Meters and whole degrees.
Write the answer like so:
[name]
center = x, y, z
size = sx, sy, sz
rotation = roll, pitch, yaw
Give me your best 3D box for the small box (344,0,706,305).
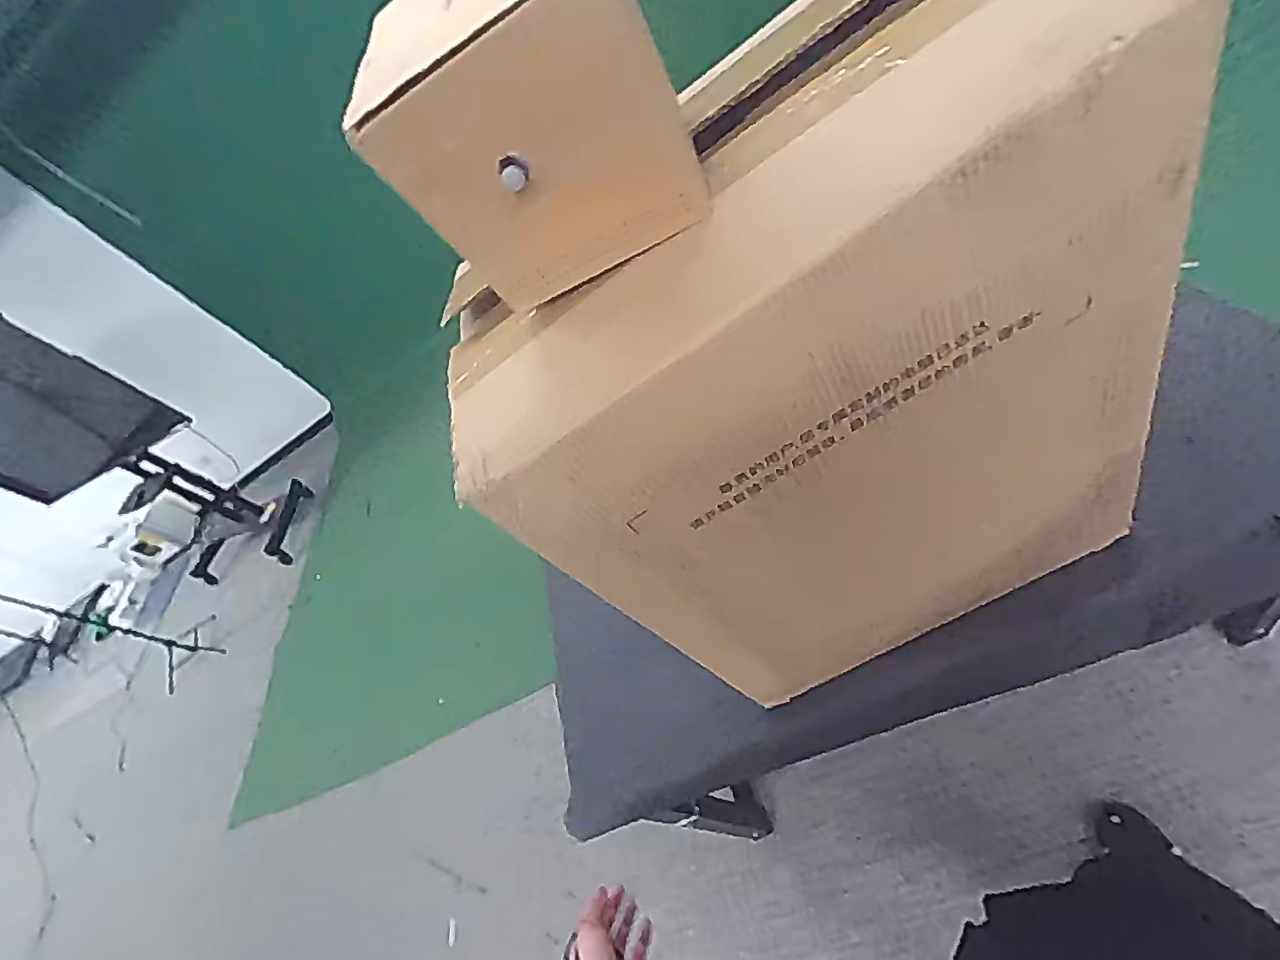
[small box]
center = -0.073, -0.264, 0.394
size = 0.179, 0.176, 0.168
rotation = -20, 59, 21
